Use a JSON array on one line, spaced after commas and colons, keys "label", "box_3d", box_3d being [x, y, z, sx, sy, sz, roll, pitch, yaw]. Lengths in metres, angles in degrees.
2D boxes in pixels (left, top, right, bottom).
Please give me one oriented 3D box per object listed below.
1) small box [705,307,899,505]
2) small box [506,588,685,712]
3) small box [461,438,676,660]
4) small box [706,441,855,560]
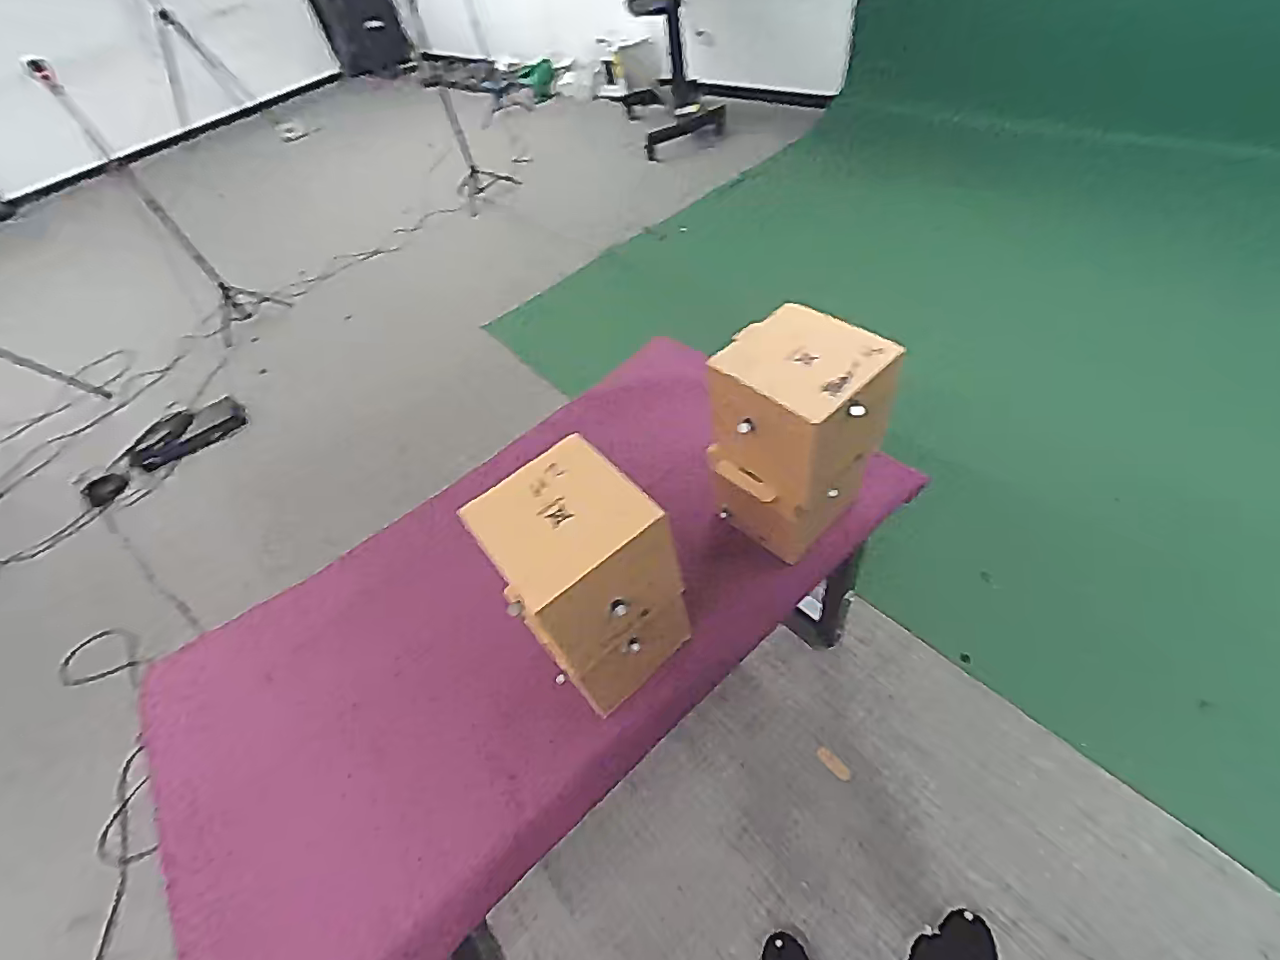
[{"label": "small box", "box_3d": [0.211, -0.098, 0.730, 0.168, 0.176, 0.179, -39, 52, -17]}, {"label": "small box", "box_3d": [-0.053, 0.194, 0.770, 0.179, 0.176, 0.168, -38, 52, -18]}, {"label": "small box", "box_3d": [-0.076, 0.089, 0.646, 0.168, 0.176, 0.179, -36, 52, -17]}, {"label": "small box", "box_3d": [0.230, -0.005, 0.865, 0.179, 0.176, 0.168, -40, 54, -20]}]
